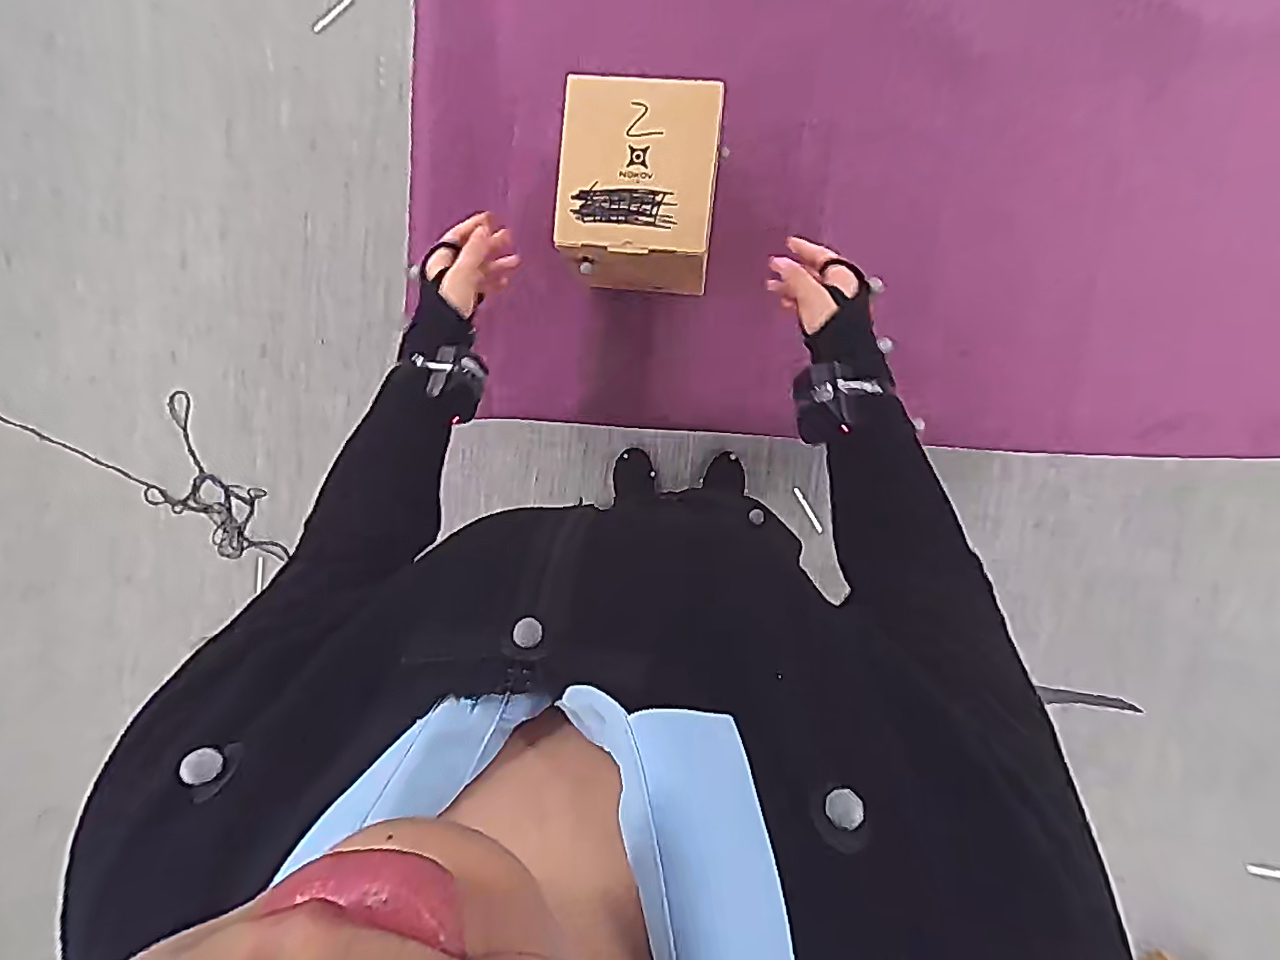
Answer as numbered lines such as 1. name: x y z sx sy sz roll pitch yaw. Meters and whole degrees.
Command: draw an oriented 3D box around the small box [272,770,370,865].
1. small box: -0.918 0.977 1.579 0.179 0.176 0.168 -10 94 7
